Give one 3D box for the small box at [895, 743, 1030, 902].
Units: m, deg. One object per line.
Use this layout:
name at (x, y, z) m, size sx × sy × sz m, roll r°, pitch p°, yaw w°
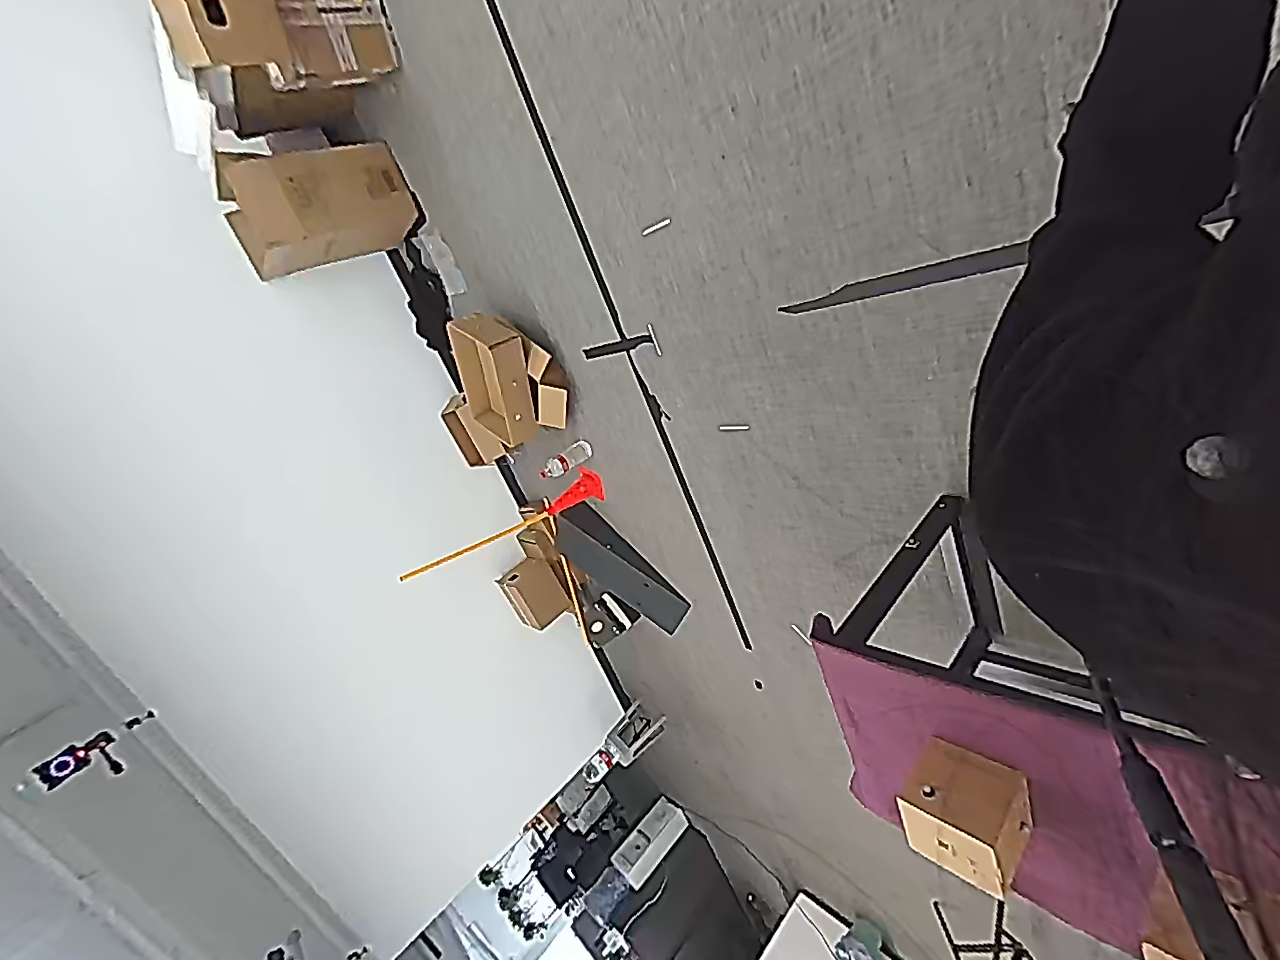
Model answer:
small box at (0.639, 0.661, 1.070) m, size 0.179 × 0.176 × 0.168 m, roll 6°, pitch 125°, yaw 50°
